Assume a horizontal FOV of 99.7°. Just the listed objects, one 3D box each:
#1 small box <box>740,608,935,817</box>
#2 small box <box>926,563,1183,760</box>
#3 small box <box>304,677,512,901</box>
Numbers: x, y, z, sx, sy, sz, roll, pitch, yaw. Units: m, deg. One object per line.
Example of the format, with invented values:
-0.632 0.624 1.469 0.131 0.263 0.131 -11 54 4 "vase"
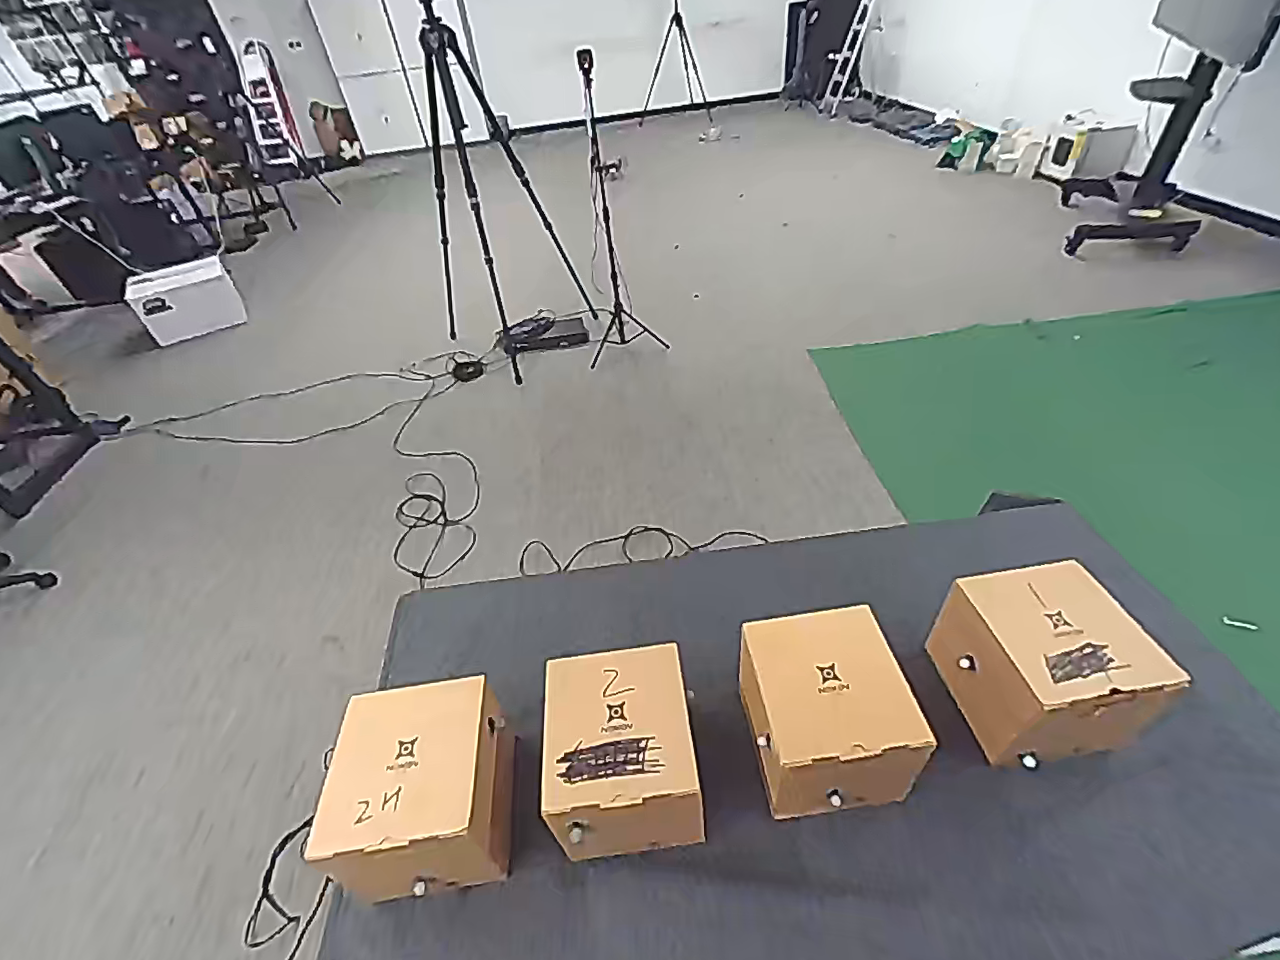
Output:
0.226 0.290 0.678 0.168 0.176 0.179 -8 43 -2 "small box"
0.504 0.237 0.693 0.168 0.176 0.179 -9 41 -1 "small box"
-0.255 0.367 0.649 0.168 0.176 0.179 -8 41 -2 "small box"
